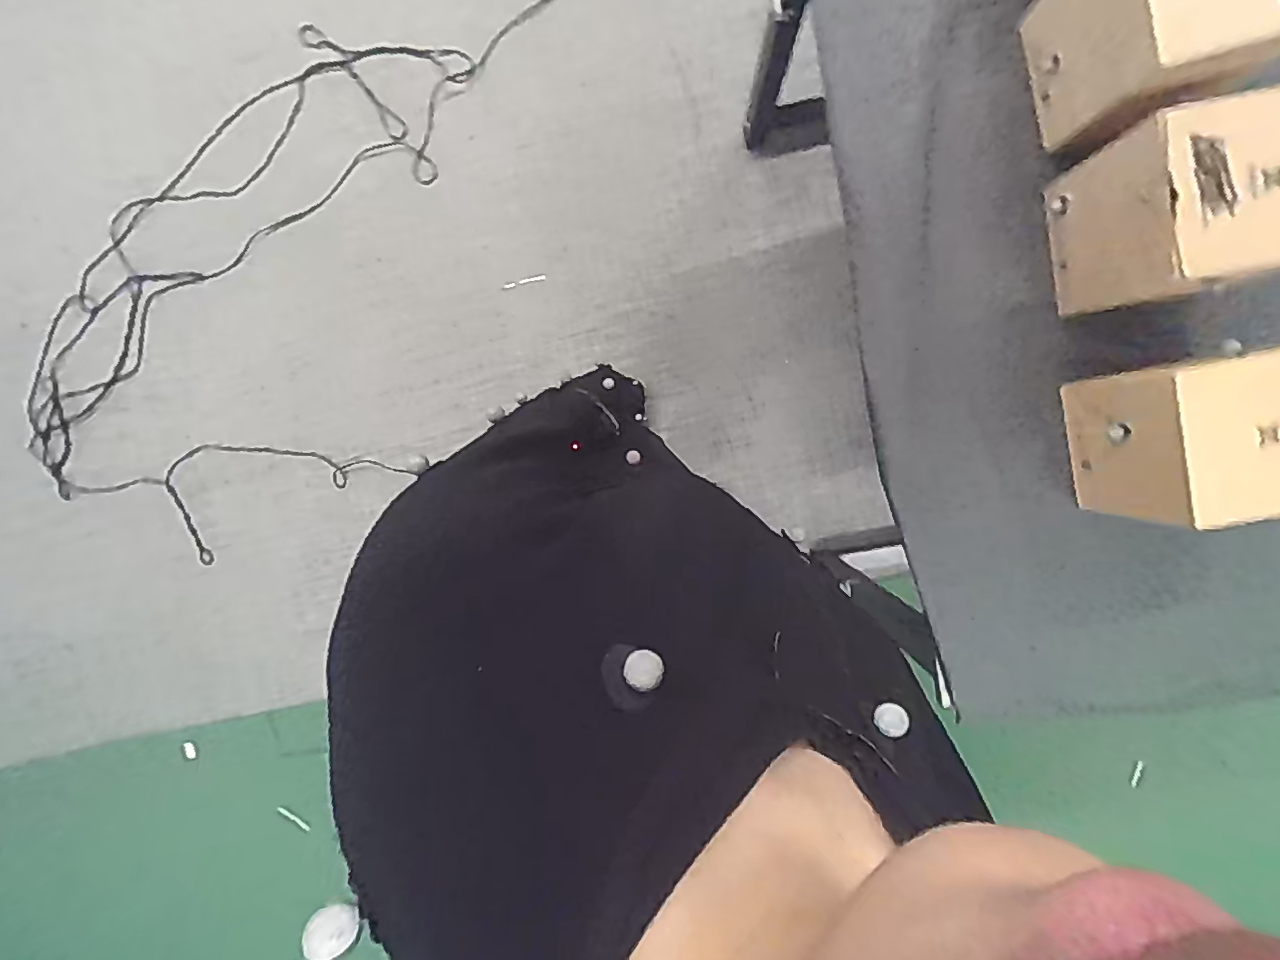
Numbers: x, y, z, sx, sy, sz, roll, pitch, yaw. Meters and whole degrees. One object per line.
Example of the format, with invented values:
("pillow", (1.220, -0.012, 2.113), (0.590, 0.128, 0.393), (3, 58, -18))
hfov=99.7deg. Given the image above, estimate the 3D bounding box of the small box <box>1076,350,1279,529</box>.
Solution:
("small box", (0.643, -0.049, 0.617), (0.179, 0.176, 0.168), (-11, 94, 4))
